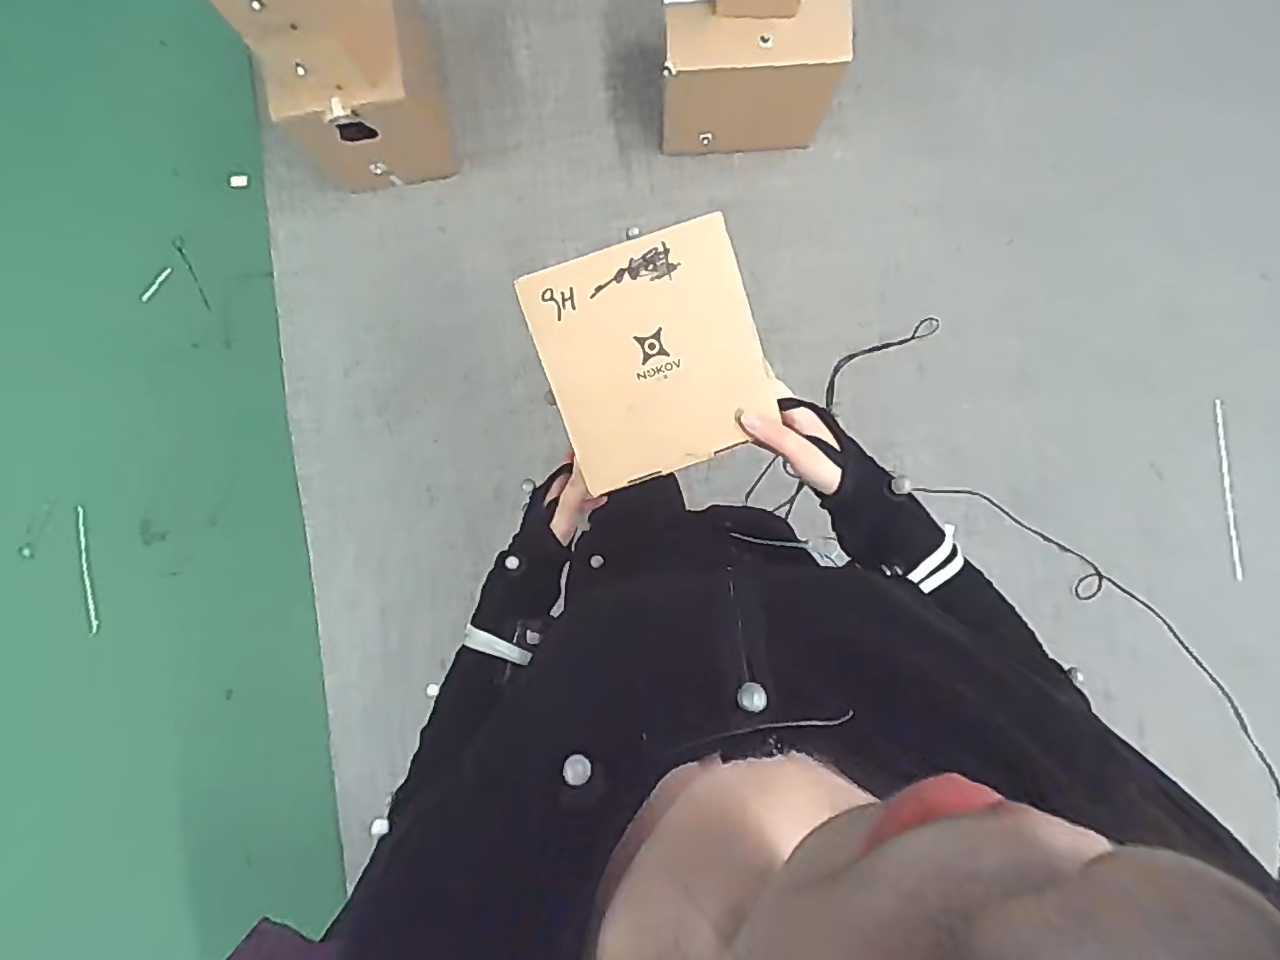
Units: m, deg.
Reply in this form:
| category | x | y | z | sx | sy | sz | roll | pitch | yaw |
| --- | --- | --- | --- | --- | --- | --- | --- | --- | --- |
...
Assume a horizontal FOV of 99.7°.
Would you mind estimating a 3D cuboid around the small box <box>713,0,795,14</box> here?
| category | x | y | z | sx | sy | sz | roll | pitch | yaw |
| --- | --- | --- | --- | --- | --- | --- | --- | --- | --- |
| small box | 0.246 | -1.077 | 1.077 | 0.179 | 0.176 | 0.168 | 2 | 88 | 2 |

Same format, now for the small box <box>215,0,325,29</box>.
| category | x | y | z | sx | sy | sz | roll | pitch | yaw |
| --- | --- | --- | --- | --- | --- | --- | --- | --- | --- |
| small box | -0.679 | -0.933 | 0.942 | 0.168 | 0.176 | 0.179 | -6 | 90 | 1 |

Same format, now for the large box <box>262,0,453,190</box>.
| category | x | y | z | sx | sy | sz | roll | pitch | yaw |
| --- | --- | --- | --- | --- | --- | --- | --- | --- | --- |
| large box | -0.697 | -1.022 | 1.351 | 0.320 | 0.320 | 0.408 | -8 | 89 | 2 |

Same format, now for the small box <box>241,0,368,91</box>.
| category | x | y | z | sx | sy | sz | roll | pitch | yaw |
| --- | --- | --- | --- | --- | --- | --- | --- | --- | --- |
| small box | -0.682 | -0.935 | 1.107 | 0.168 | 0.176 | 0.179 | -6 | 89 | 2 |

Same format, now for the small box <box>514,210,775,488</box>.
| category | x | y | z | sx | sy | sz | roll | pitch | yaw |
| --- | --- | --- | --- | --- | --- | --- | --- | --- | --- |
| small box | 0.001 | -0.112 | 0.495 | 0.168 | 0.176 | 0.179 | -19 | 101 | -2 |
